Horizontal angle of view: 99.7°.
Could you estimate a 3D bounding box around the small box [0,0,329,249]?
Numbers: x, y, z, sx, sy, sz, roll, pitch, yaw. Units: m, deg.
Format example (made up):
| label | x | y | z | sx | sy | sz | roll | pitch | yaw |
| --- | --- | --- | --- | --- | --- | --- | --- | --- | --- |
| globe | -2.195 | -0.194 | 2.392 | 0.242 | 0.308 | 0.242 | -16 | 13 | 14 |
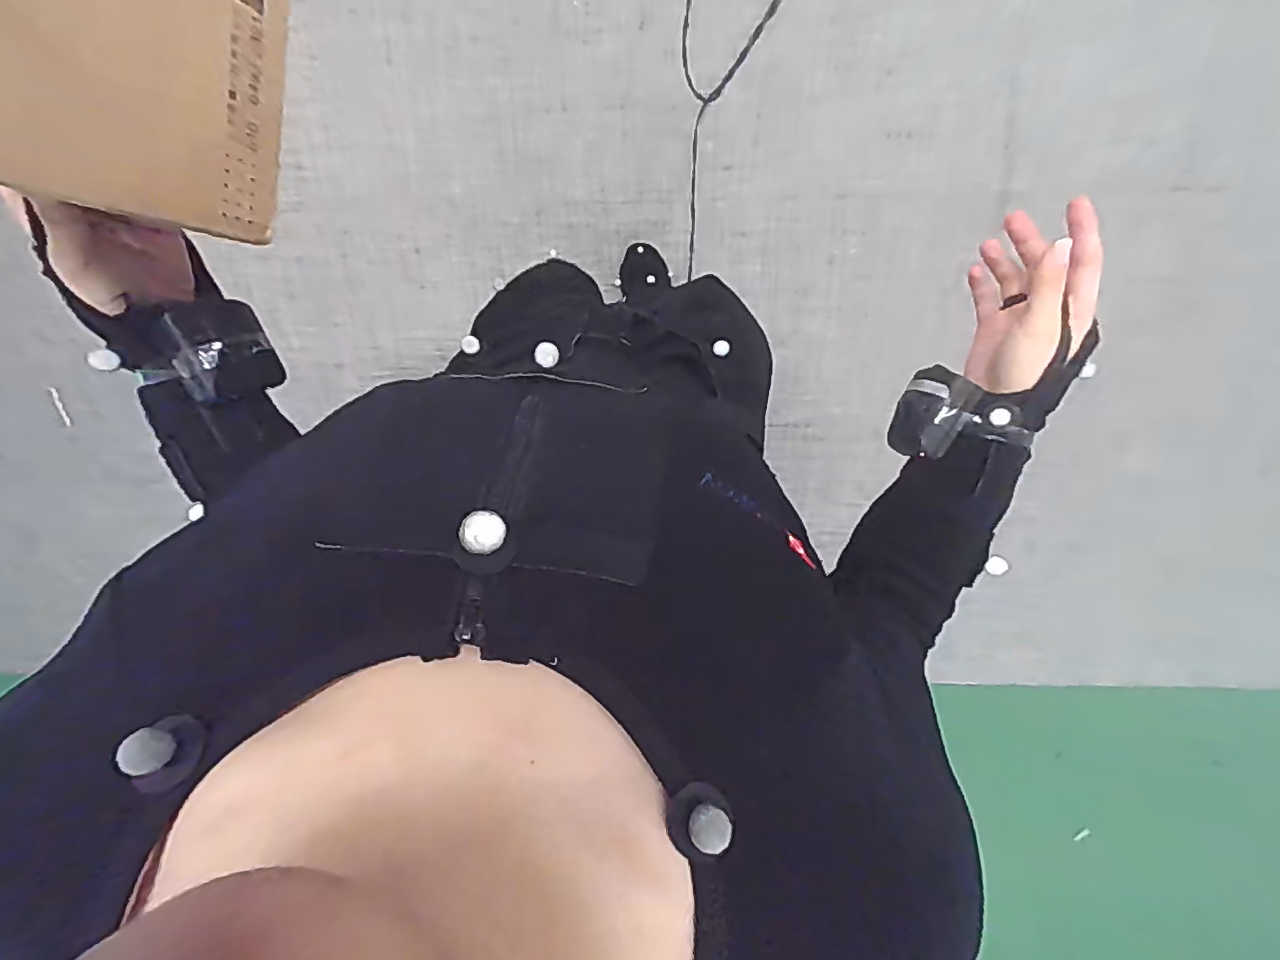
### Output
| label | x | y | z | sx | sy | sz | roll | pitch | yaw |
| --- | --- | --- | --- | --- | --- | --- | --- | --- | --- |
| small box | -0.259 | -0.202 | 0.207 | 0.179 | 0.176 | 0.168 | 16 | 105 | 11 |
